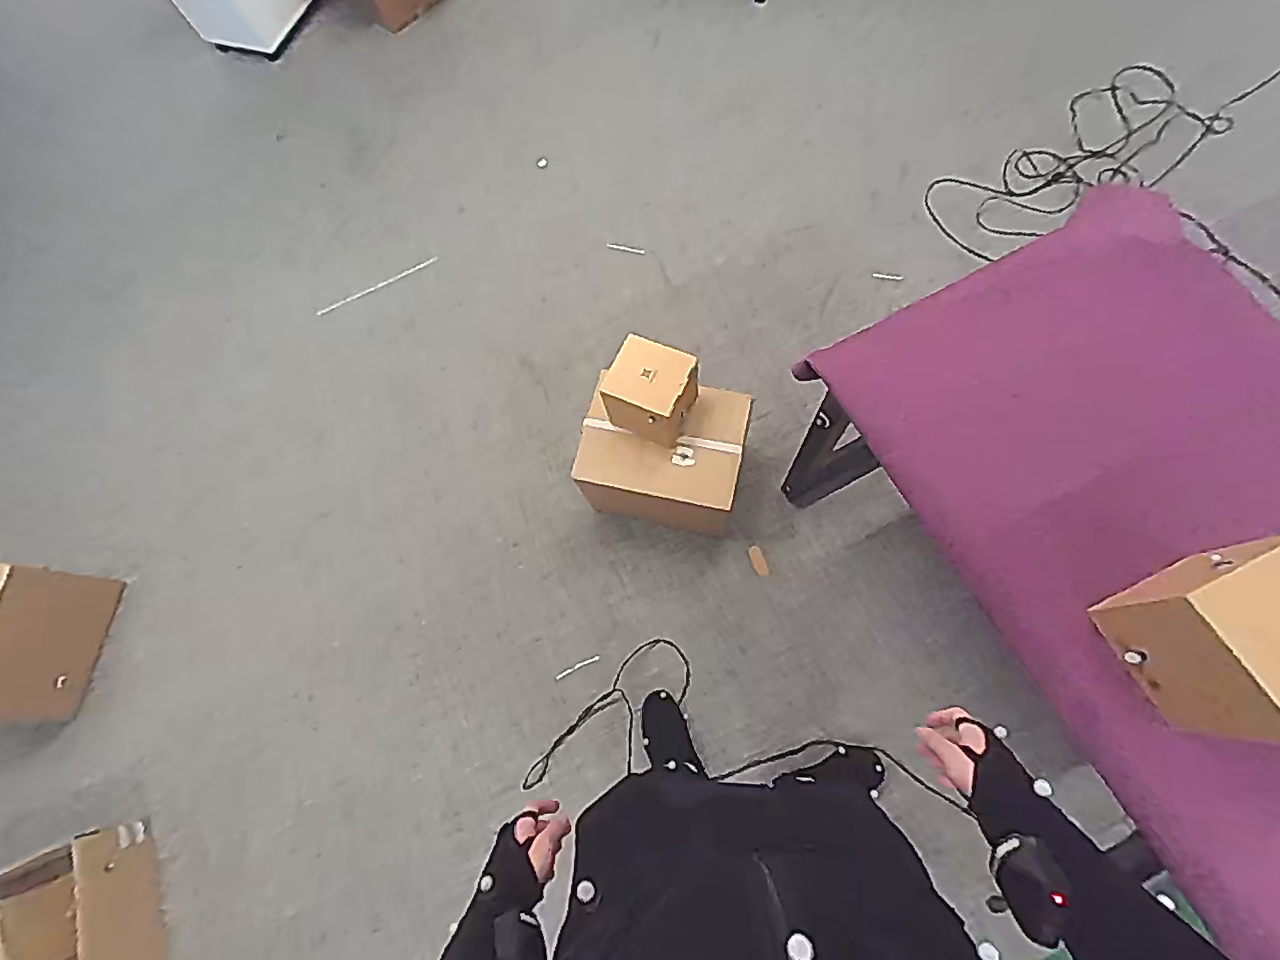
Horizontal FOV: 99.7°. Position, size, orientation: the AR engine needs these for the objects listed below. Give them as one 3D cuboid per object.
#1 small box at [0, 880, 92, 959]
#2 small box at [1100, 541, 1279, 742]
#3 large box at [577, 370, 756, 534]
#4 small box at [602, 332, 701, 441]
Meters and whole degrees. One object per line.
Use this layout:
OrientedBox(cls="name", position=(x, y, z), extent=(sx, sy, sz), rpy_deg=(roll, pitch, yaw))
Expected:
OrientedBox(cls="small box", position=(-1.469, 1.095, 1.282), extent=(0.168, 0.176, 0.179), rpy_deg=(-29, 71, -5))
OrientedBox(cls="small box", position=(0.705, 0.179, 0.623), extent=(0.179, 0.176, 0.168), rpy_deg=(-25, 70, -3))
OrientedBox(cls="large box", position=(0.079, -0.066, 1.480), extent=(0.408, 0.320, 0.320), rpy_deg=(11, 74, 9))
OrientedBox(cls="small box", position=(0.032, -0.213, 1.276), extent=(0.179, 0.176, 0.168), rpy_deg=(23, 74, 13))
